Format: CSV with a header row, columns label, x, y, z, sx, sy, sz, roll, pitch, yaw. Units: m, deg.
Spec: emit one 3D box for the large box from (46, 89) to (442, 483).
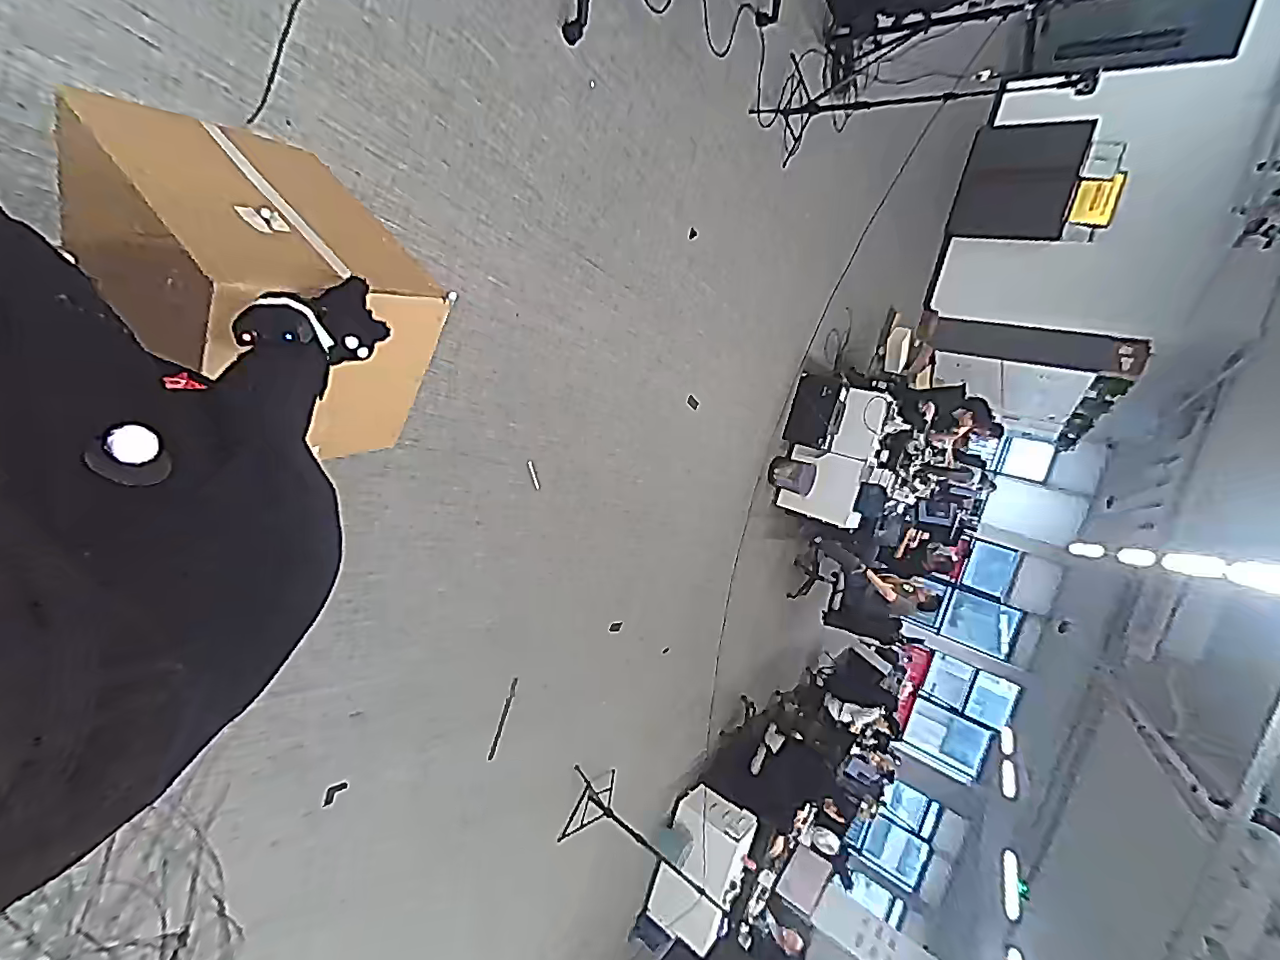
label,x,y,z,sx,sy,sz,roll,pitch,yaw
large box,-0.590,-0.262,0.808,0.320,0.408,0.320,-50,165,31
